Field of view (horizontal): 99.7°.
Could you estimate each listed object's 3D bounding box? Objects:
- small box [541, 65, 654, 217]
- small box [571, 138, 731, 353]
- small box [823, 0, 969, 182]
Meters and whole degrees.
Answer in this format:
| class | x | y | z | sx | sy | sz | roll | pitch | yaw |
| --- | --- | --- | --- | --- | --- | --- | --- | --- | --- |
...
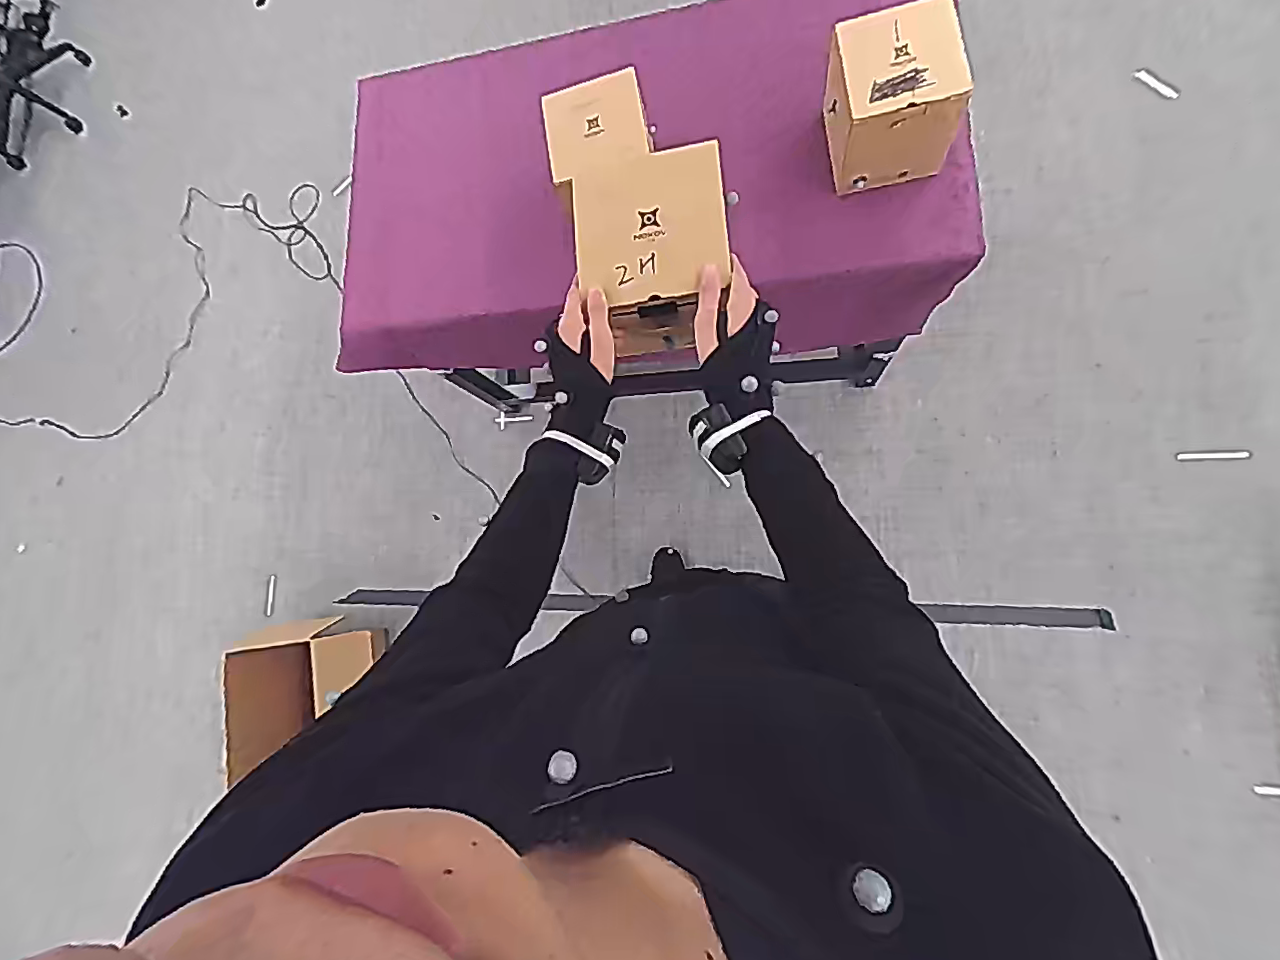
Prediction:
| class | x | y | z | sx | sy | sz | roll | pitch | yaw |
| --- | --- | --- | --- | --- | --- | --- | --- | --- | --- |
| small box | -0.060 | -0.570 | 0.960 | 0.168 | 0.176 | 0.179 | -11 | 79 | 10 |
| small box | 0.022 | -0.271 | 0.665 | 0.168 | 0.176 | 0.179 | -6 | 88 | 11 |
| small box | 0.395 | -0.609 | 0.863 | 0.168 | 0.176 | 0.179 | -7 | 79 | 11 |
